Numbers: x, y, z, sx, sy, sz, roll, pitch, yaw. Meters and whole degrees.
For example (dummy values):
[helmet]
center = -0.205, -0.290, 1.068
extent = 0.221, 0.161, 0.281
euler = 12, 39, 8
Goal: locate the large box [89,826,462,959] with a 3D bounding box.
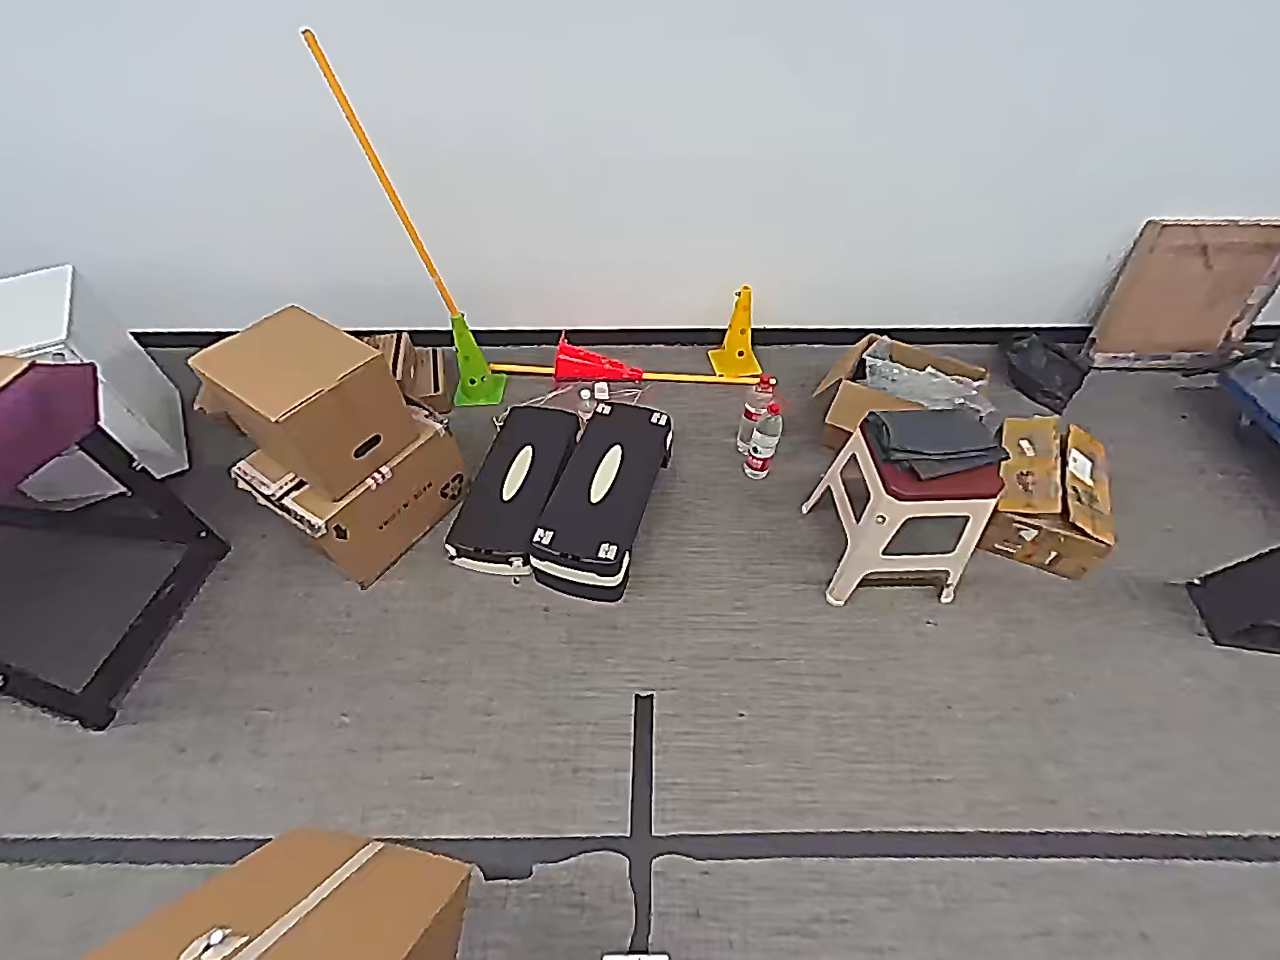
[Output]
[large box]
center = -0.472, 0.714, 0.665
extent = 0.320, 0.408, 0.320
euler = 7, 82, 8
